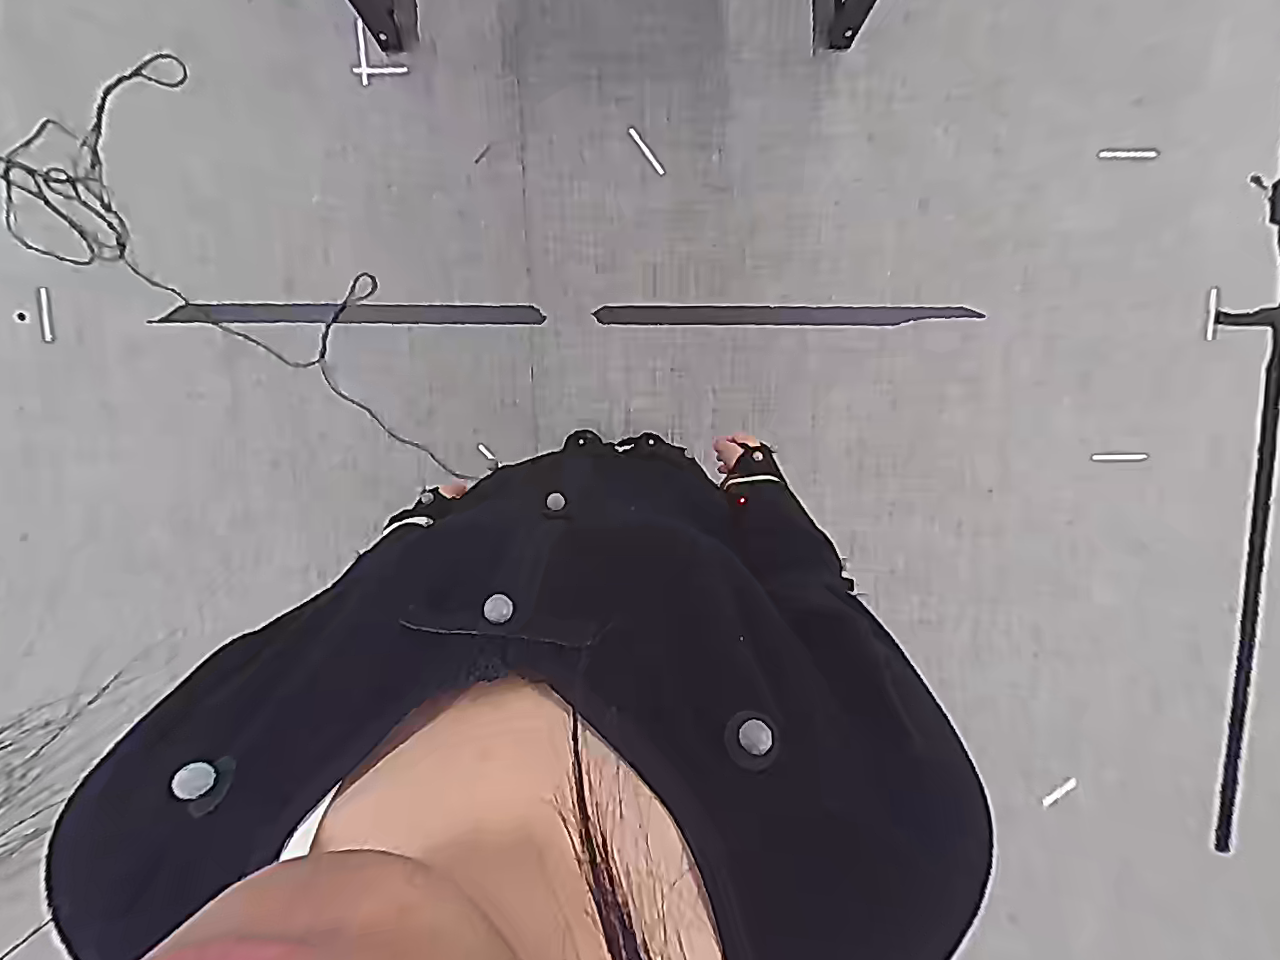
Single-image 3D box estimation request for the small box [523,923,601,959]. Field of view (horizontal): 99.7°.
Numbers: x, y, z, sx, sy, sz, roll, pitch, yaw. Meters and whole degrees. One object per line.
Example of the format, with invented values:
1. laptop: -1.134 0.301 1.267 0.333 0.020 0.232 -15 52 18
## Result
1. small box: -0.179 1.158 1.236 0.179 0.176 0.168 -2 94 0
